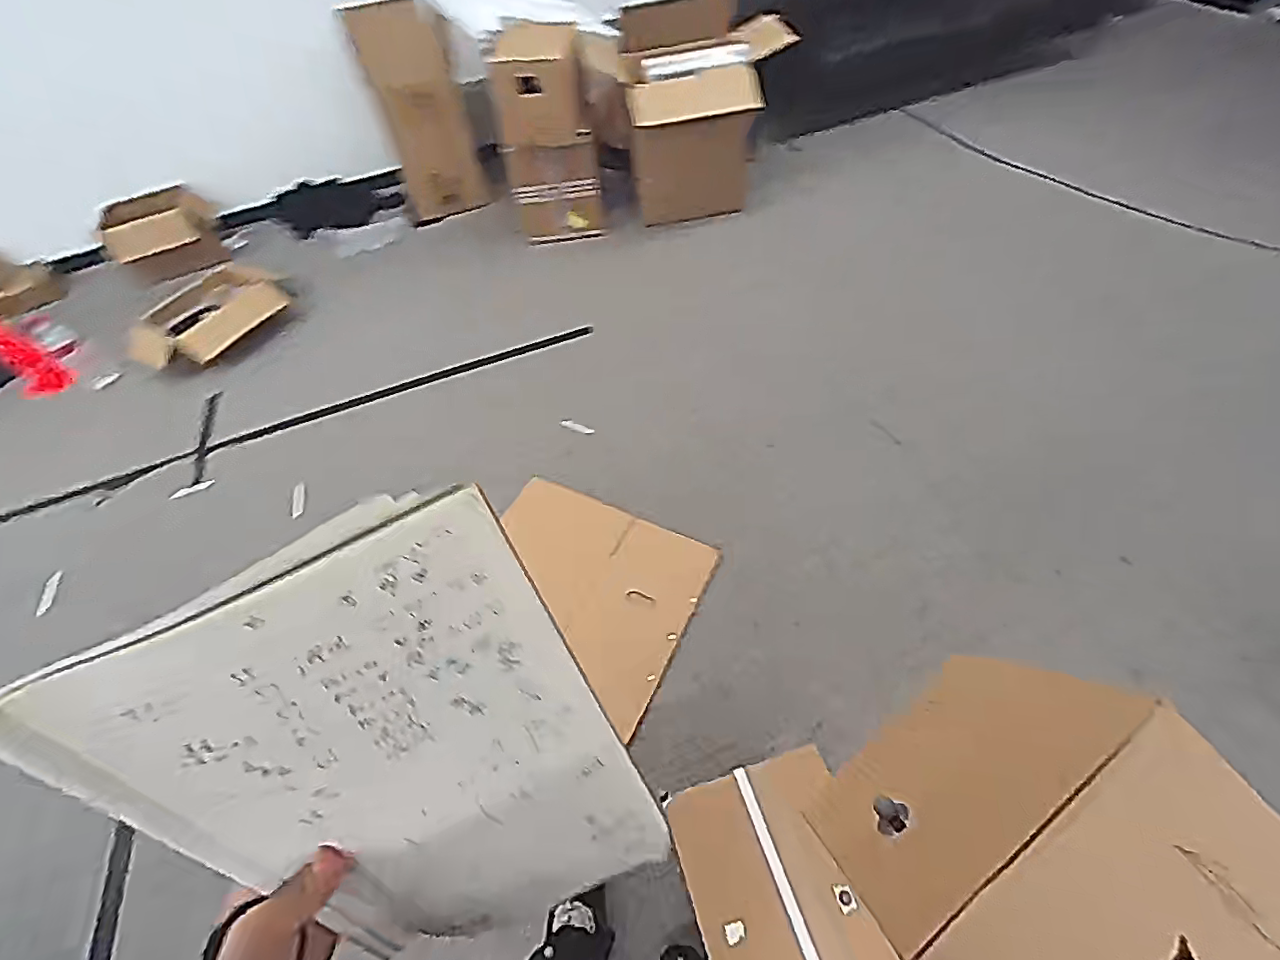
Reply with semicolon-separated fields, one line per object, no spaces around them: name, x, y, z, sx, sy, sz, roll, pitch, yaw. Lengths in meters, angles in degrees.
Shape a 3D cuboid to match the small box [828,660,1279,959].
small box;0.236;0.232;0.313;0.179;0.176;0.168;-41;83;-8
